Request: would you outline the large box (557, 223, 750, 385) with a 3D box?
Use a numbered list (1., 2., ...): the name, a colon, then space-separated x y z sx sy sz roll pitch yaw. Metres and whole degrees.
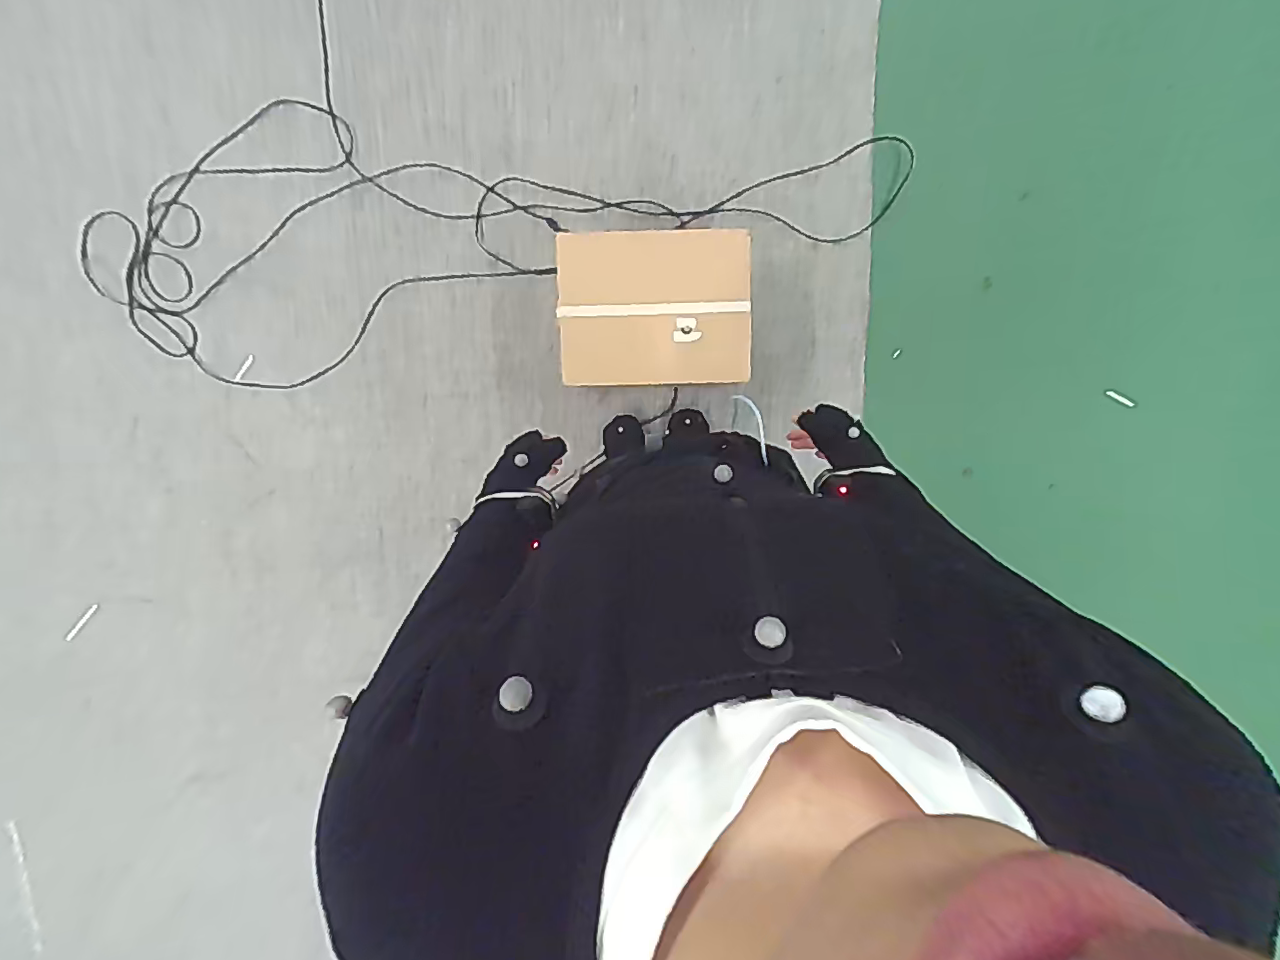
1. large box: 0.031 -0.391 1.276 0.408 0.320 0.320 -1 100 0
